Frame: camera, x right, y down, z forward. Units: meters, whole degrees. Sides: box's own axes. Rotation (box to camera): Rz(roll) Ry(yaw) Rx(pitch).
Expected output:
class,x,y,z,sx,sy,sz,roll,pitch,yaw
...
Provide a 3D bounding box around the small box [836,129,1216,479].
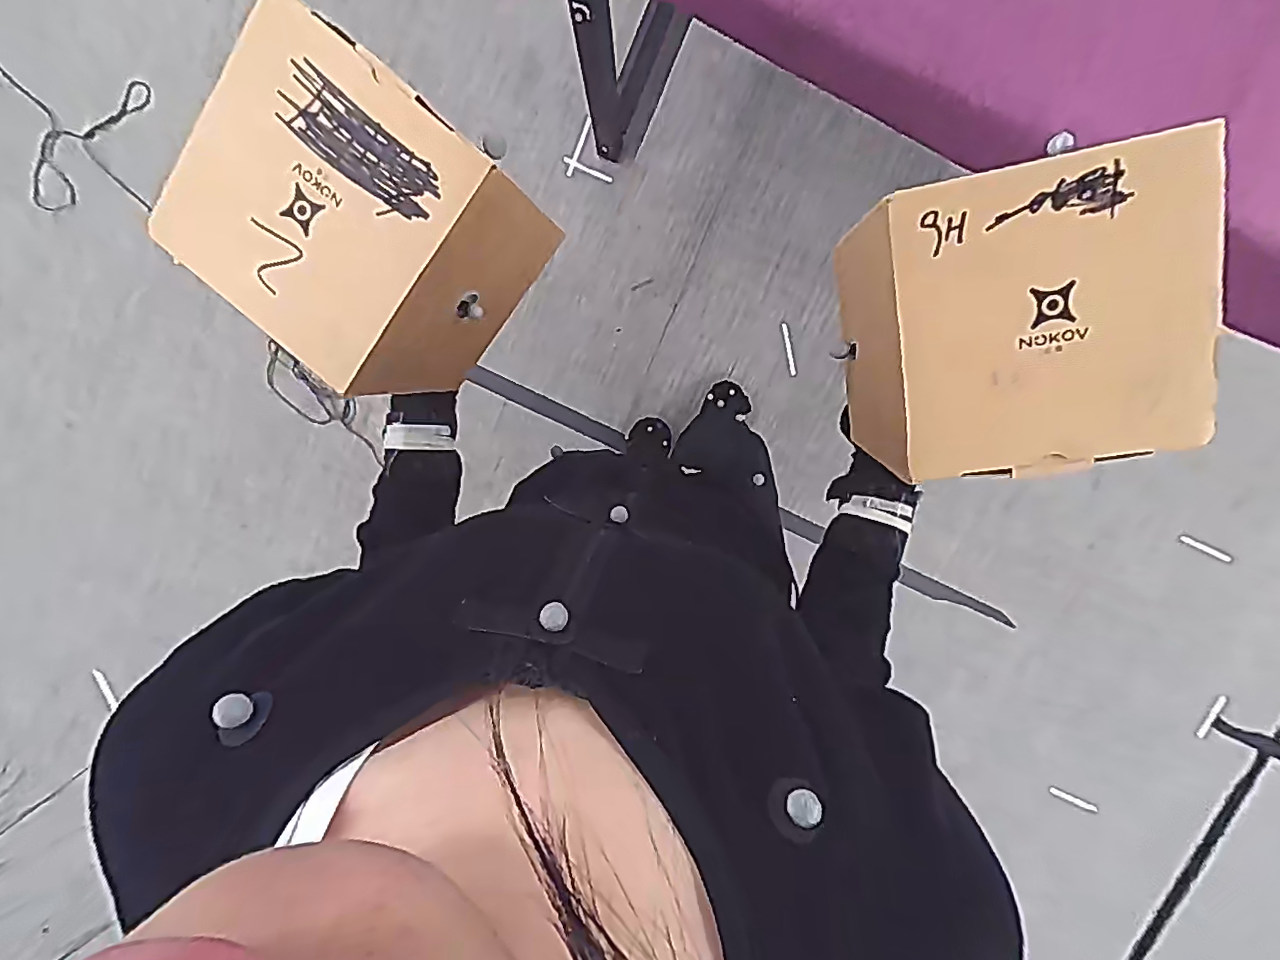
class,x,y,z,sx,sy,sz,roll,pitch,yaw
small box,0.248,-0.113,0.394,0.168,0.176,0.179,-8,103,11
